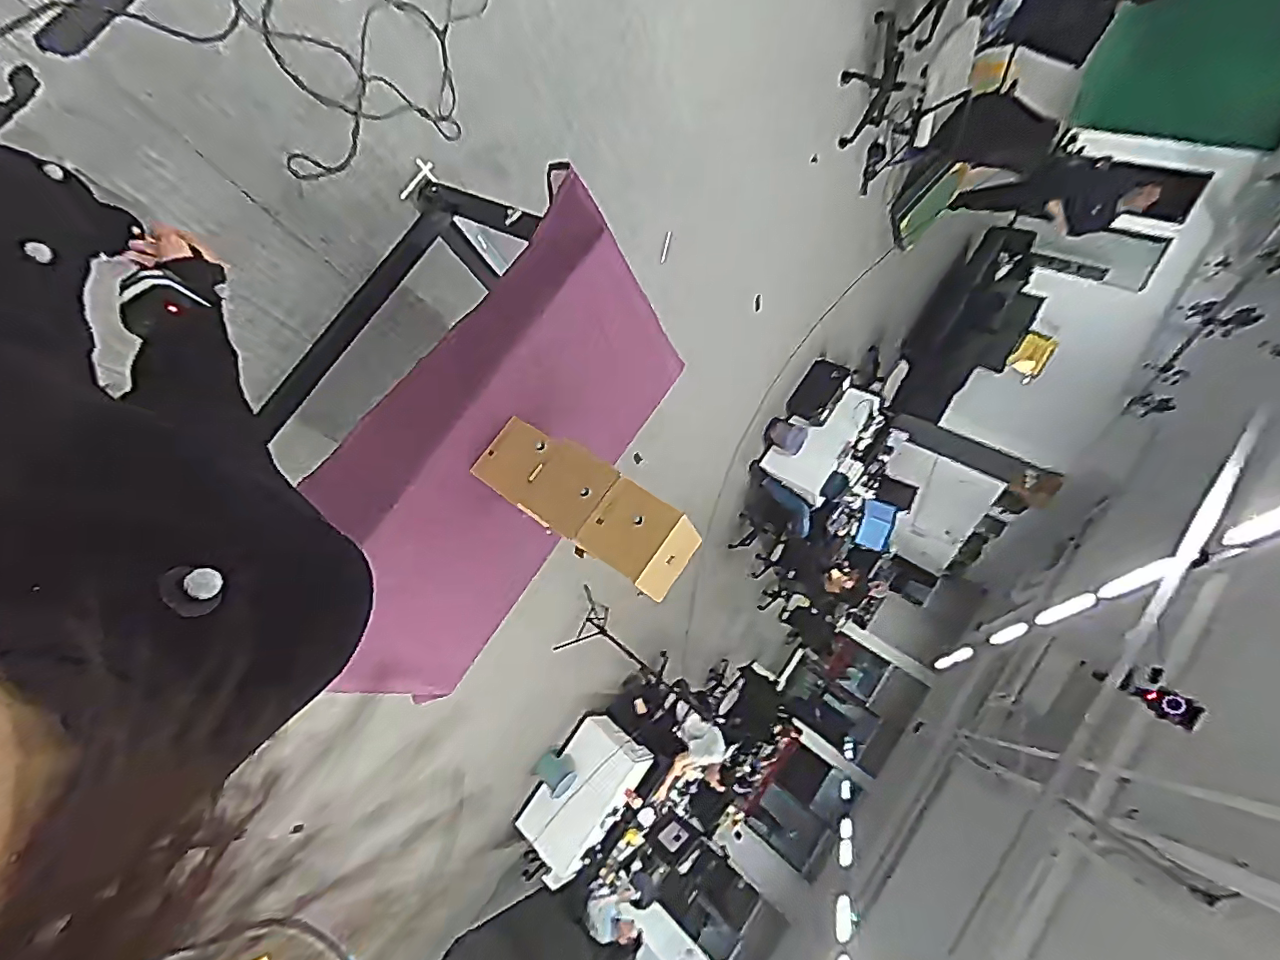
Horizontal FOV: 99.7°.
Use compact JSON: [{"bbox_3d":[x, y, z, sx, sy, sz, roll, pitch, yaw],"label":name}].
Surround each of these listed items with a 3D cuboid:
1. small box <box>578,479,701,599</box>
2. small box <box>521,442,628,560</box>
[{"bbox_3d":[-0.001,0.120,1.123,0.168,0.176,0.179,-54,153,-9],"label":"small box"},{"bbox_3d":[-0.127,0.044,1.194,0.179,0.176,0.168,-54,151,-9],"label":"small box"}]
